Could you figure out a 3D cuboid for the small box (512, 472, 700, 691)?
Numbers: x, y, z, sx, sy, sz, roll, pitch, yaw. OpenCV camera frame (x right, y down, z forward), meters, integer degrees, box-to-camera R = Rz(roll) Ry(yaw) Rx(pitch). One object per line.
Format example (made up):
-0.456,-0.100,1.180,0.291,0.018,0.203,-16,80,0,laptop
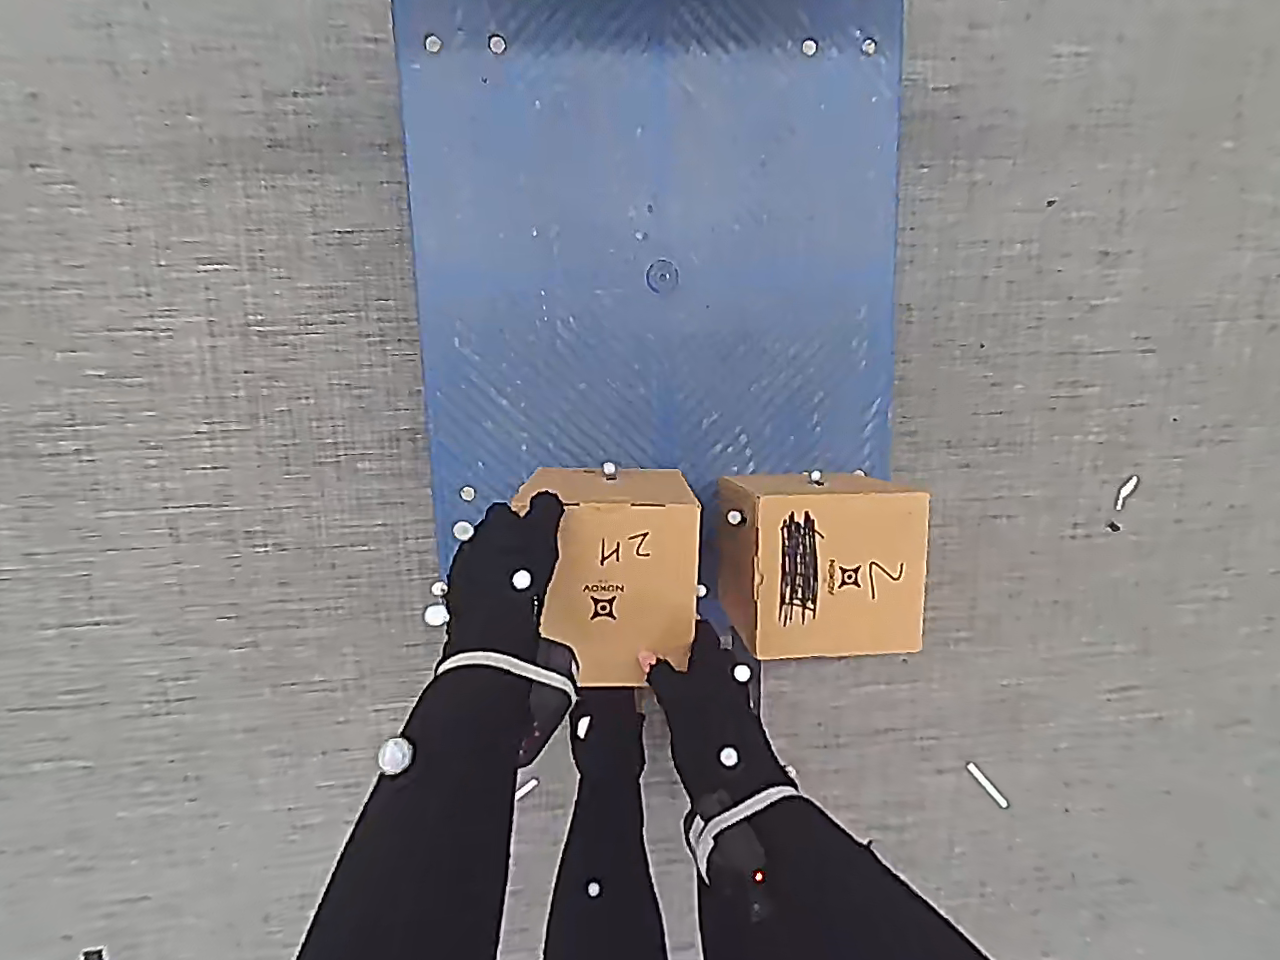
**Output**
-0.033,0.094,0.561,0.168,0.176,0.179,1,101,-2,small box
